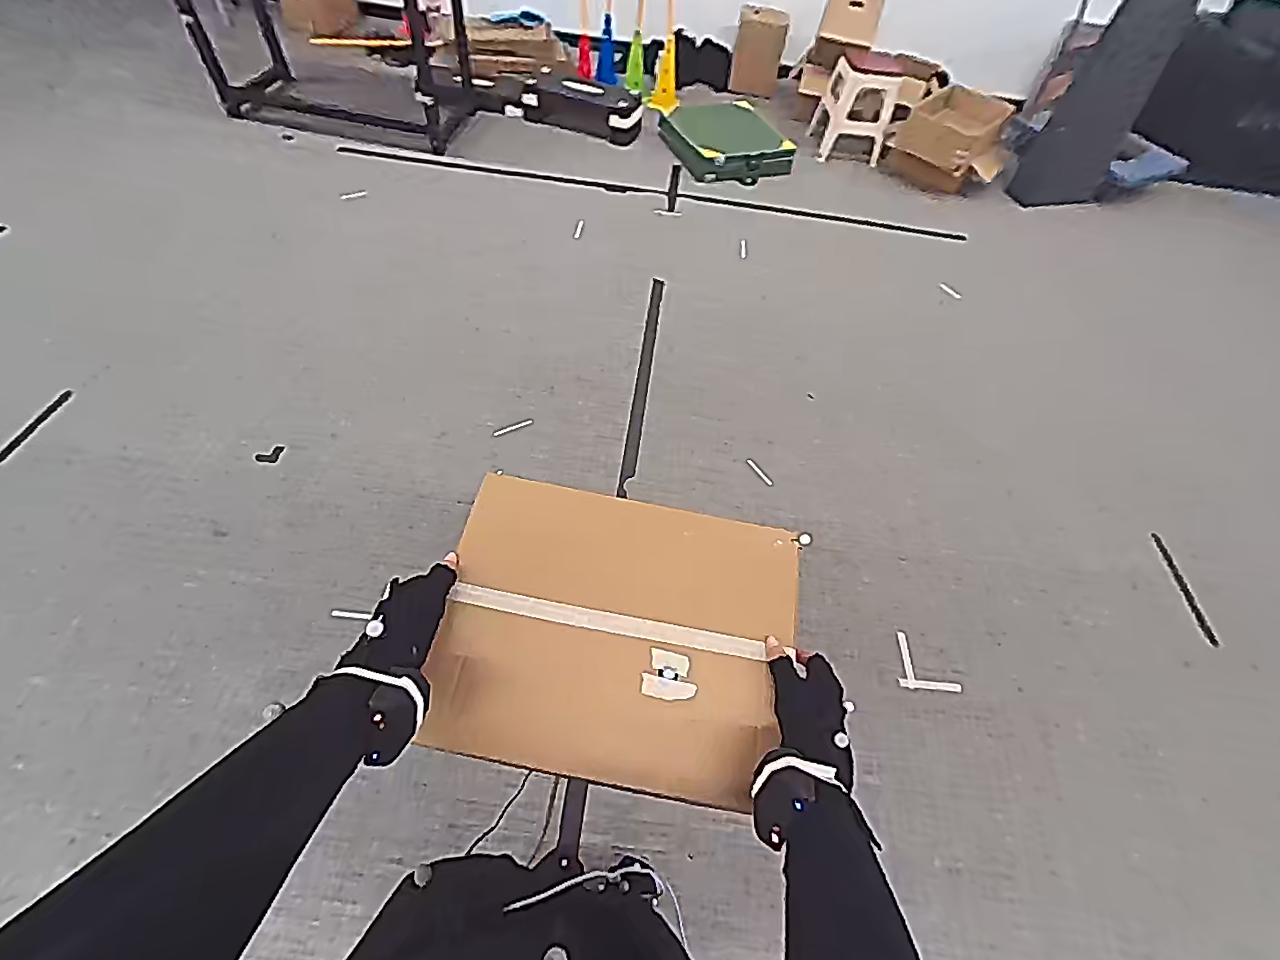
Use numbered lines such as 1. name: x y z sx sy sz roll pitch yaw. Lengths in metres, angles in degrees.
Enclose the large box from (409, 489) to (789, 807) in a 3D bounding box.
1. large box: -0.038 0.245 0.760 0.408 0.320 0.320 11 62 1
